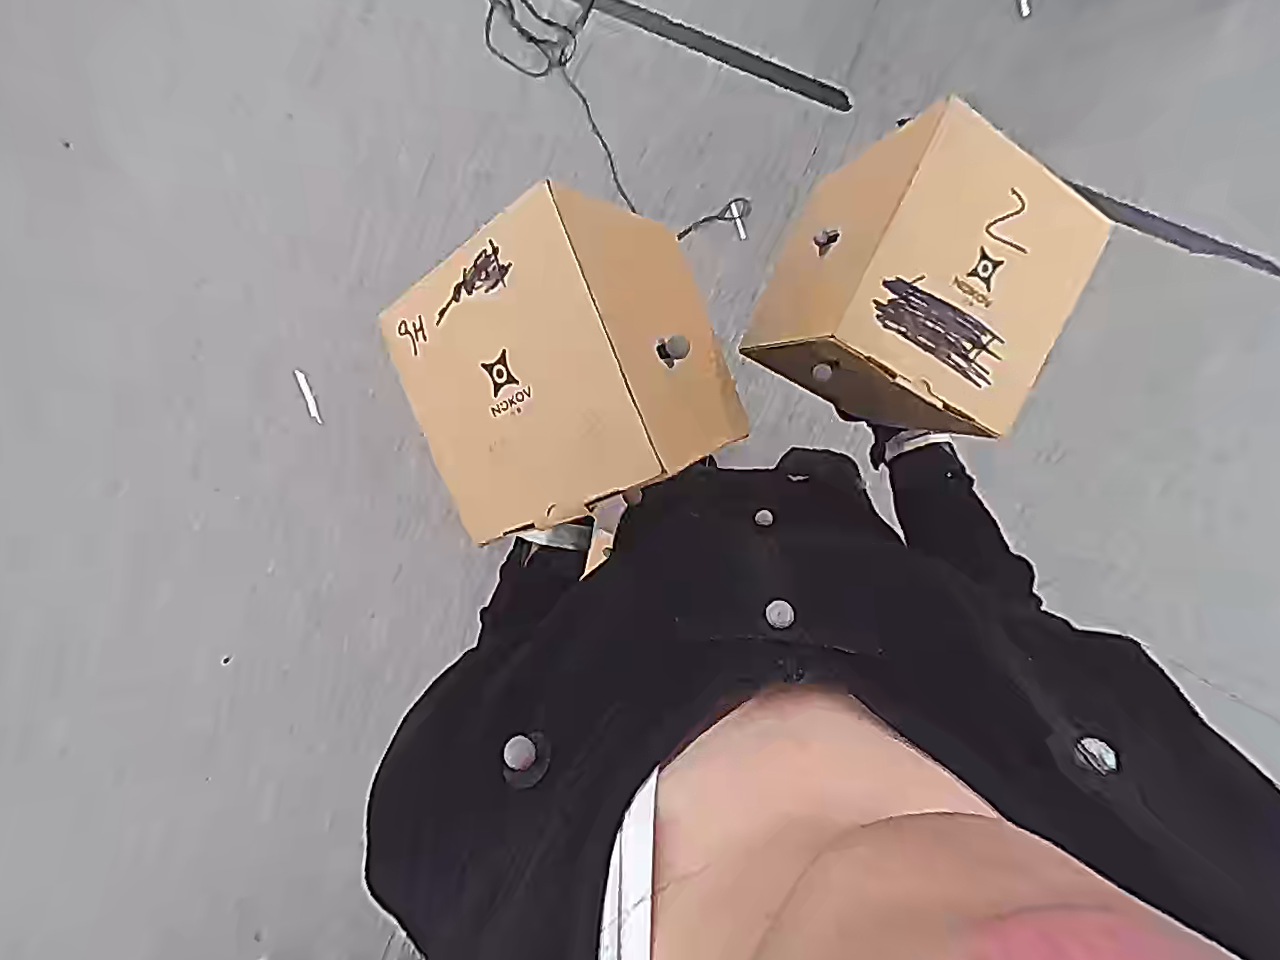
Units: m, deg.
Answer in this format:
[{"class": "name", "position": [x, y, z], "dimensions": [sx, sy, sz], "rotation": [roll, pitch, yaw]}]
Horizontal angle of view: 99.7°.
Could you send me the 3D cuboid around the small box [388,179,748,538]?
[{"class": "small box", "position": [-0.039, -0.081, 0.403], "dimensions": [0.168, 0.176, 0.179], "rotation": [-21, 93, 30]}]
